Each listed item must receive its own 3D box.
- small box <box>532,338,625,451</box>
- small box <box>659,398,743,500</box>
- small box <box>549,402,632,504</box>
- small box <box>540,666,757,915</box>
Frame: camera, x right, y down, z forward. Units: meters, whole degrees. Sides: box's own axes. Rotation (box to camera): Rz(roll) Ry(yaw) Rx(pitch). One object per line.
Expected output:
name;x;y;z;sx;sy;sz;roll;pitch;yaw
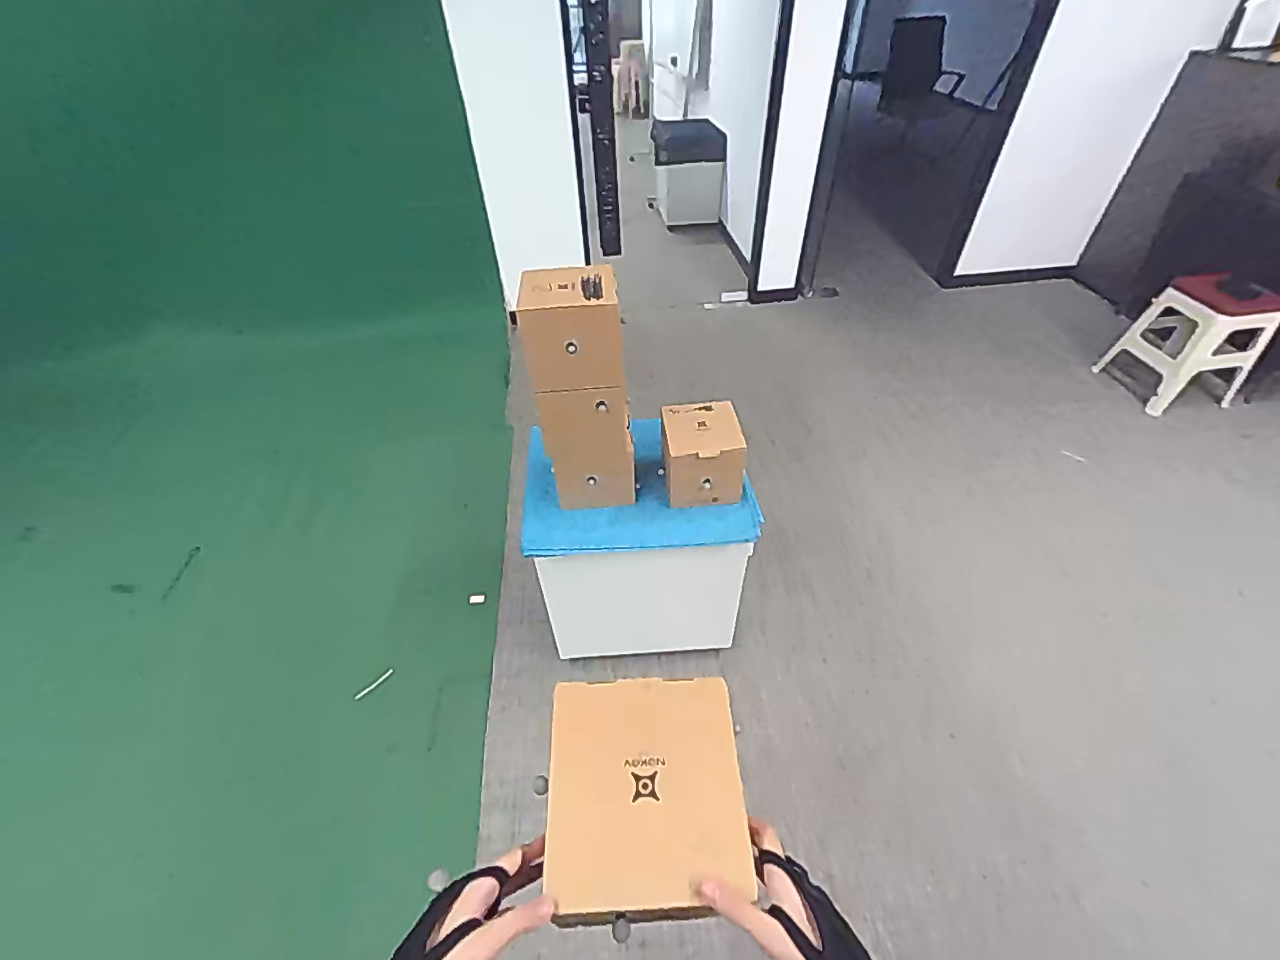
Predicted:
small box;-0.122;-0.177;1.124;0.179;0.176;0.168;-4;44;-3
small box;0.133;-0.066;1.238;0.168;0.176;0.179;-4;45;-3
small box;-0.110;-0.061;1.240;0.179;0.176;0.168;-5;44;-3
small box;0.002;0.298;0.515;0.168;0.176;0.179;-1;47;-4
